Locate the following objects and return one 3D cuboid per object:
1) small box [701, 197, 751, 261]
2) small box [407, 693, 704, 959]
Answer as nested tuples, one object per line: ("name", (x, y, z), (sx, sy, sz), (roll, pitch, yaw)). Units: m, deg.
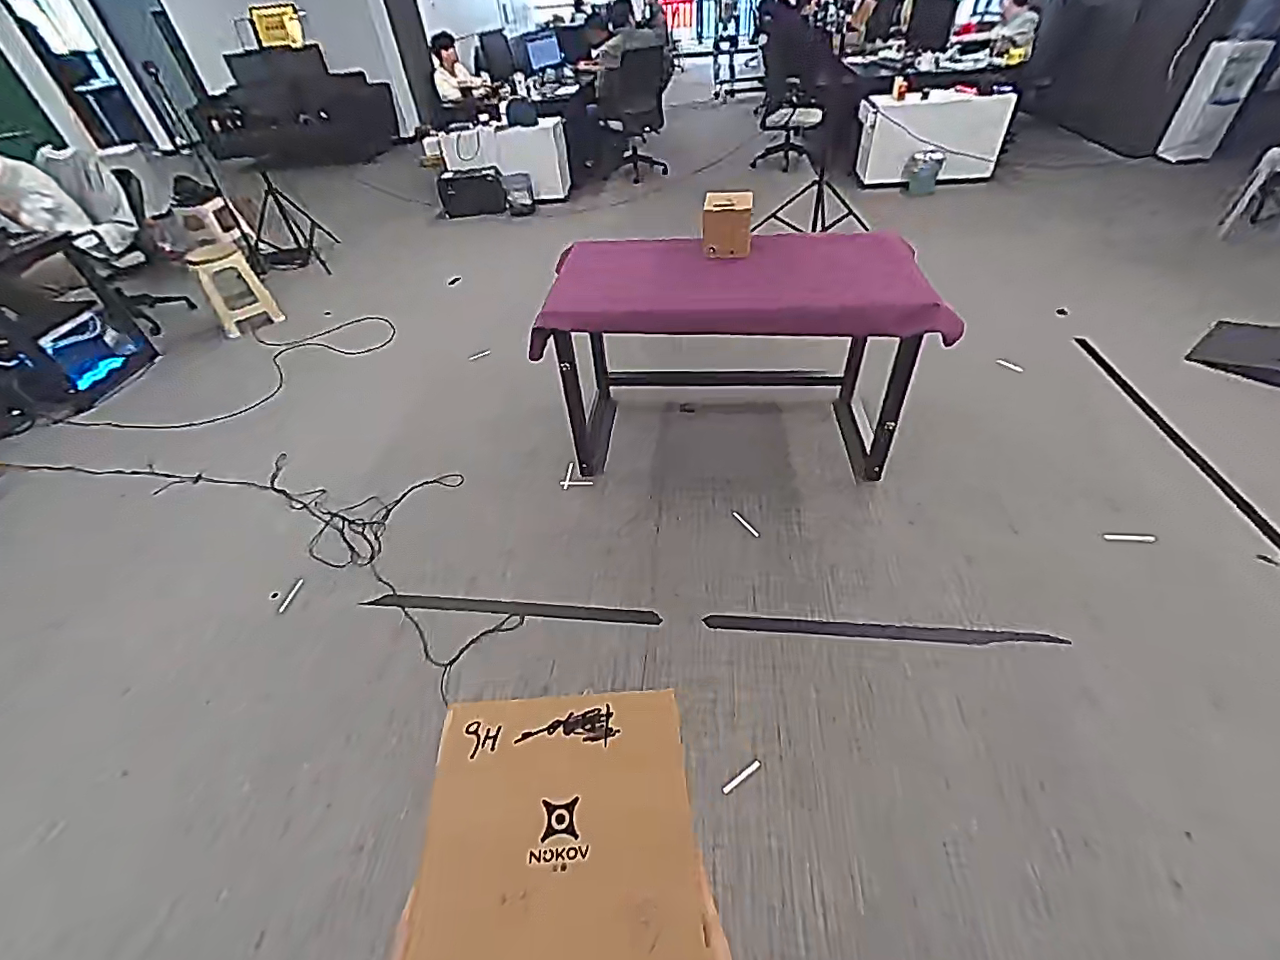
("small box", (0.312, -0.903, 1.950), (0.168, 0.176, 0.179), (4, 44, 10))
("small box", (-0.048, 0.278, 0.390), (0.168, 0.176, 0.179), (-3, 45, -3))
